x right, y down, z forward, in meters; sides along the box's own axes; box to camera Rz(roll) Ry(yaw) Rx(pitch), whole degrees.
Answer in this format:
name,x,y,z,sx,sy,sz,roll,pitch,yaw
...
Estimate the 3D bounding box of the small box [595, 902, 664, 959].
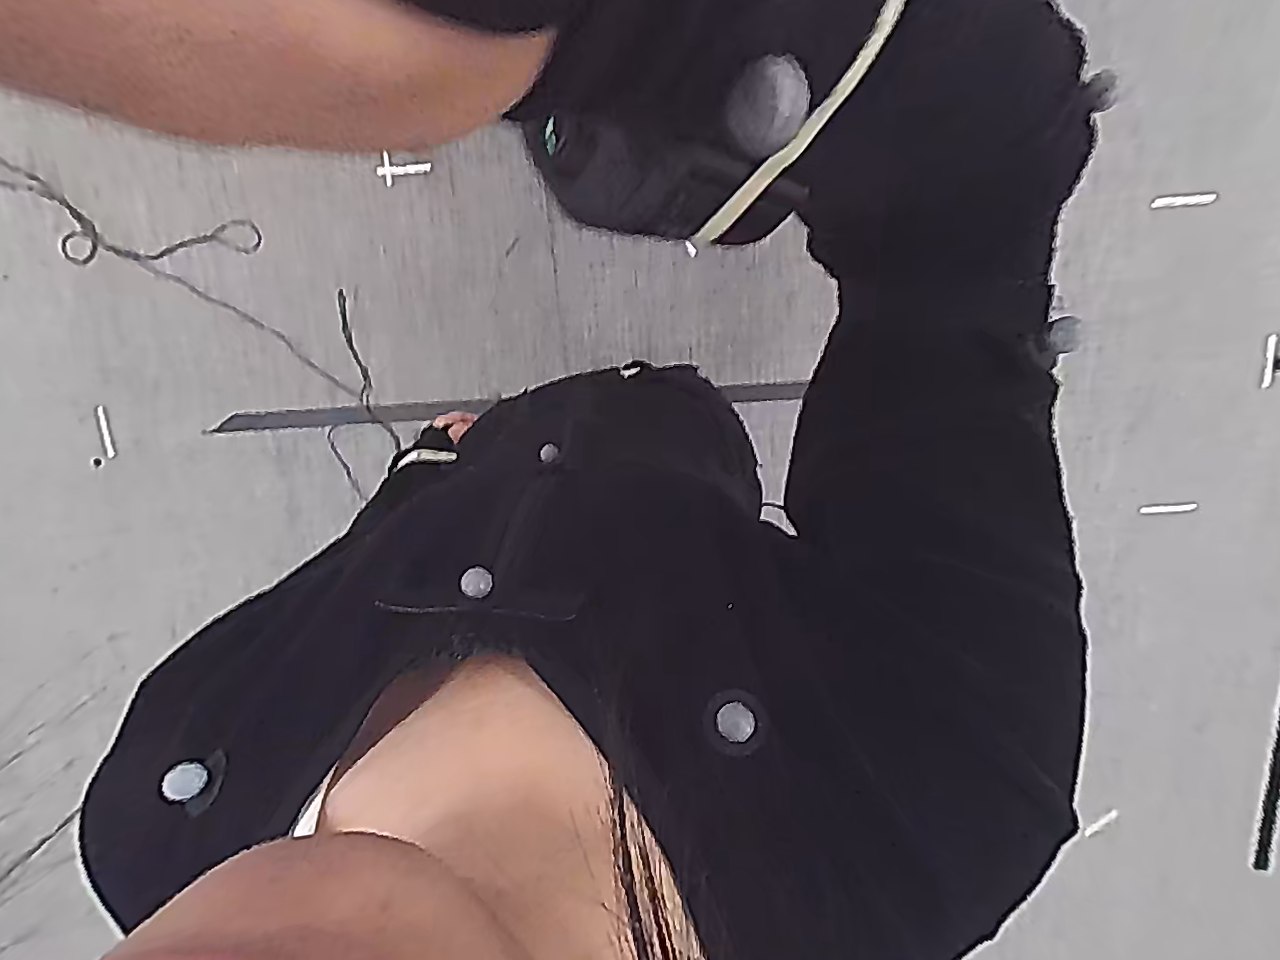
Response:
name,x,y,z,sx,sy,sz,roll,pitch,yaw
small box,-0.023,1.279,1.439,0.168,0.176,0.179,-8,100,1
